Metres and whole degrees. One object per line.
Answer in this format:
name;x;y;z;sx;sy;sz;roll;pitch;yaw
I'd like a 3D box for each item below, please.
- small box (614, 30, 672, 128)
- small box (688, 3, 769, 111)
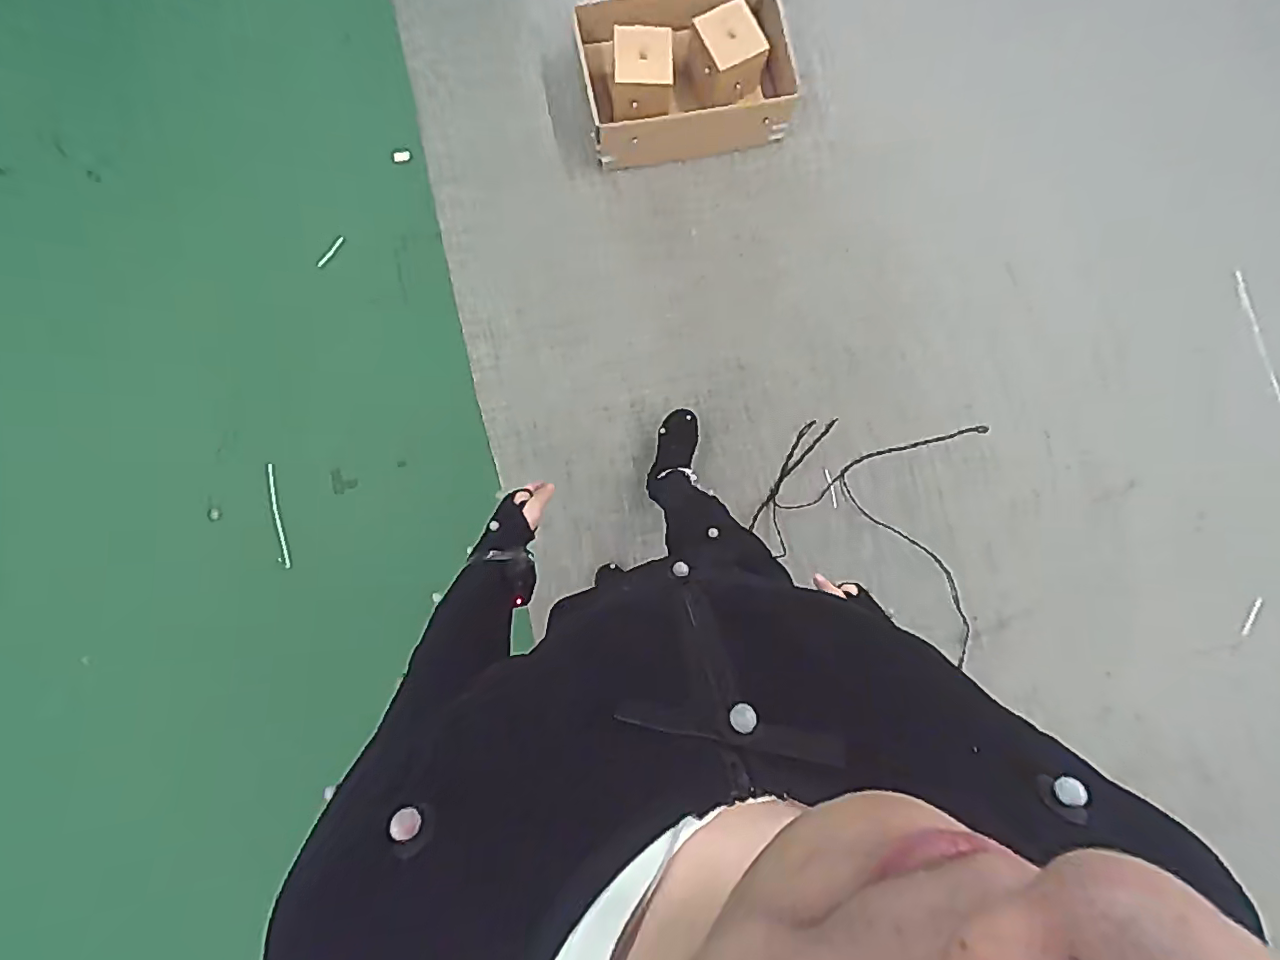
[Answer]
small box;0.007;-1.185;1.610;0.168;0.176;0.179;-1;84;-3
small box;0.259;-1.256;1.626;0.168;0.176;0.179;-27;87;-4
